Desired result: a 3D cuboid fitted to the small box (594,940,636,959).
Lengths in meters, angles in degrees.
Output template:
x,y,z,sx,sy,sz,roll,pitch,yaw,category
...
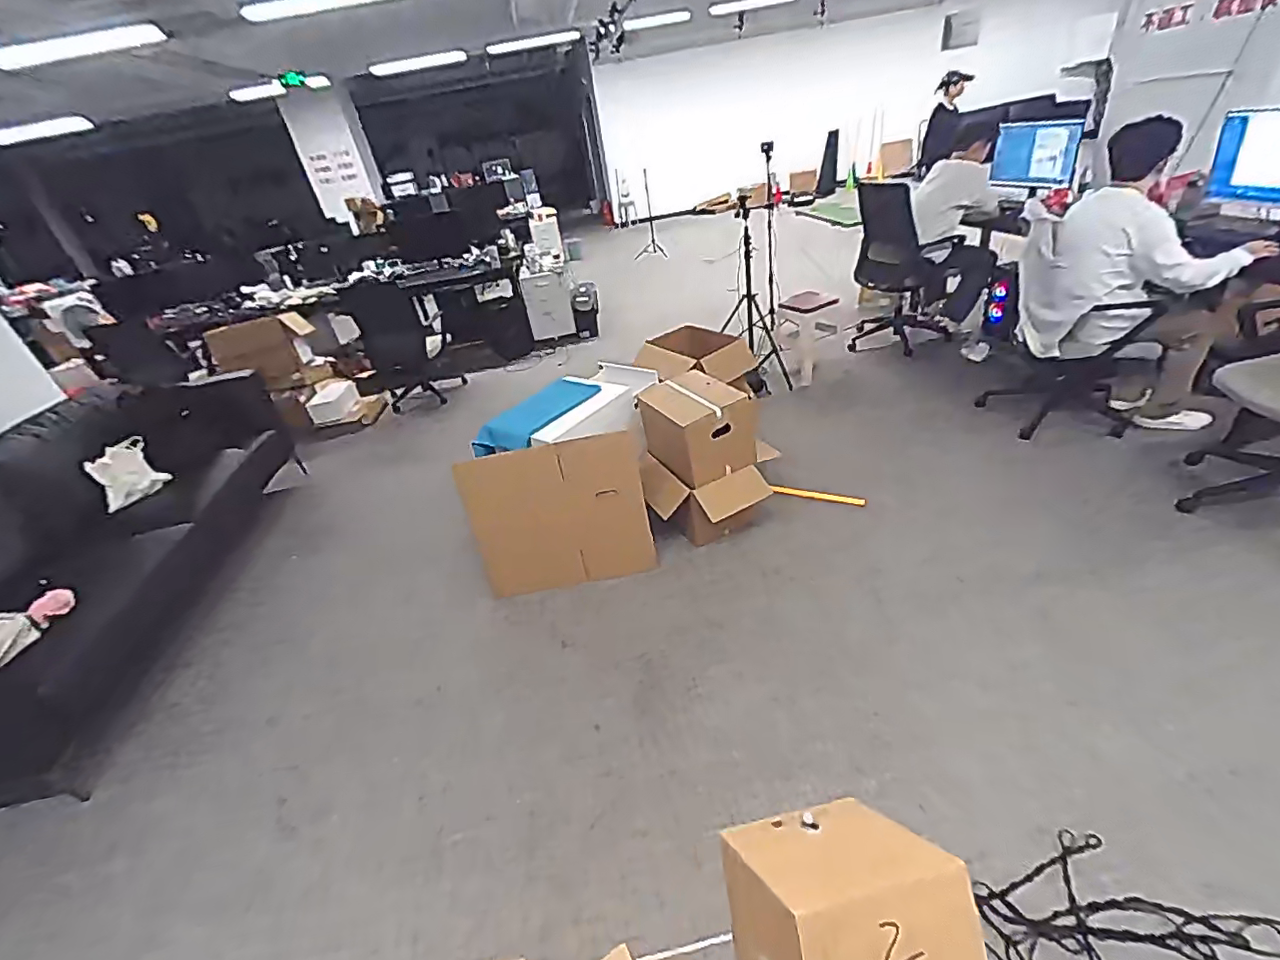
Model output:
x,y,z,sx,sy,sz,roll,pitch,yaw,category
-0.045,0.955,0.924,0.168,0.176,0.179,-23,34,-16,small box
